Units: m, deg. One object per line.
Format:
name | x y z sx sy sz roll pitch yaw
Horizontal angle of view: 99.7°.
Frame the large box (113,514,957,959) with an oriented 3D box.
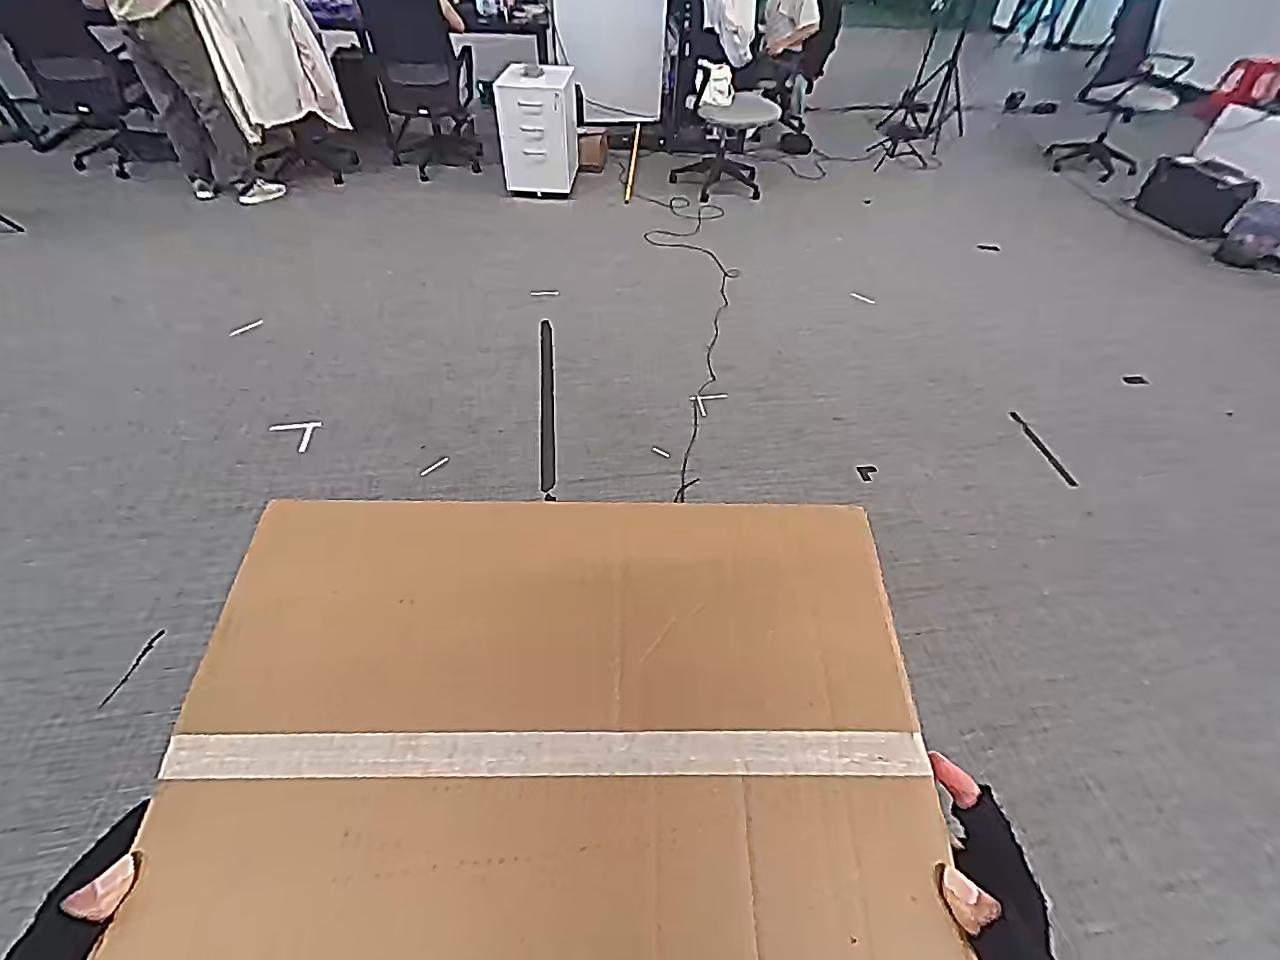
large box | -0.051 0.234 0.425 0.408 0.320 0.320 0 59 -1
